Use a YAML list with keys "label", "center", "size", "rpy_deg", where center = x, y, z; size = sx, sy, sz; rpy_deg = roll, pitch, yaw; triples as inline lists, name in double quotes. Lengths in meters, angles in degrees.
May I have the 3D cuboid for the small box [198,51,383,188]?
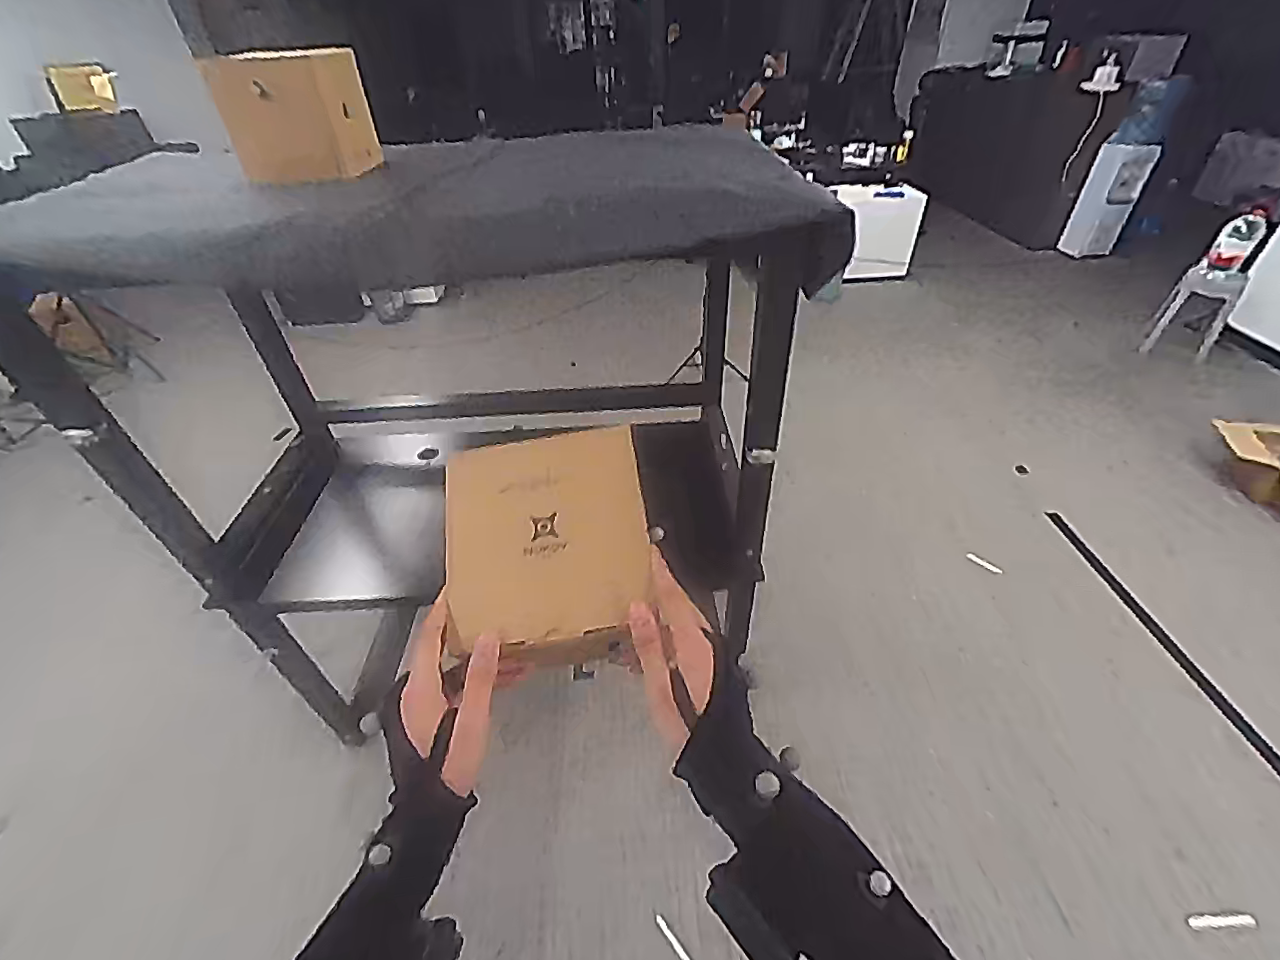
- label: "small box"
  center: [-0.560, -0.600, 0.901]
  size: [0.179, 0.176, 0.168]
  rpy_deg: [-3, 41, 1]
